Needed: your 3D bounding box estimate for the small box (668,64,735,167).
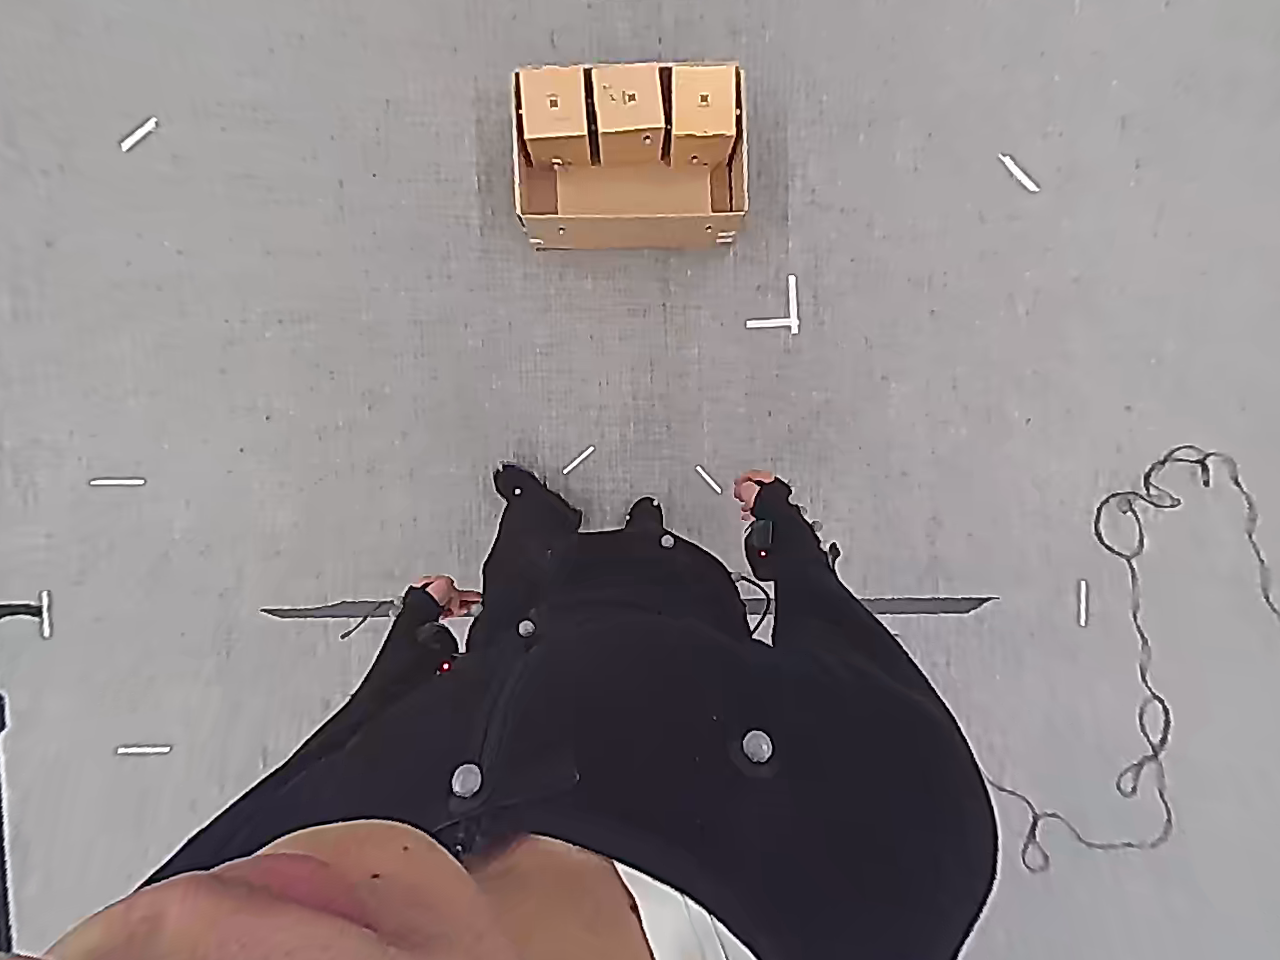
[{"bbox_3d":[0.164,-0.988,1.475,0.168,0.176,0.179,-1,94,0],"label":"small box"}]
